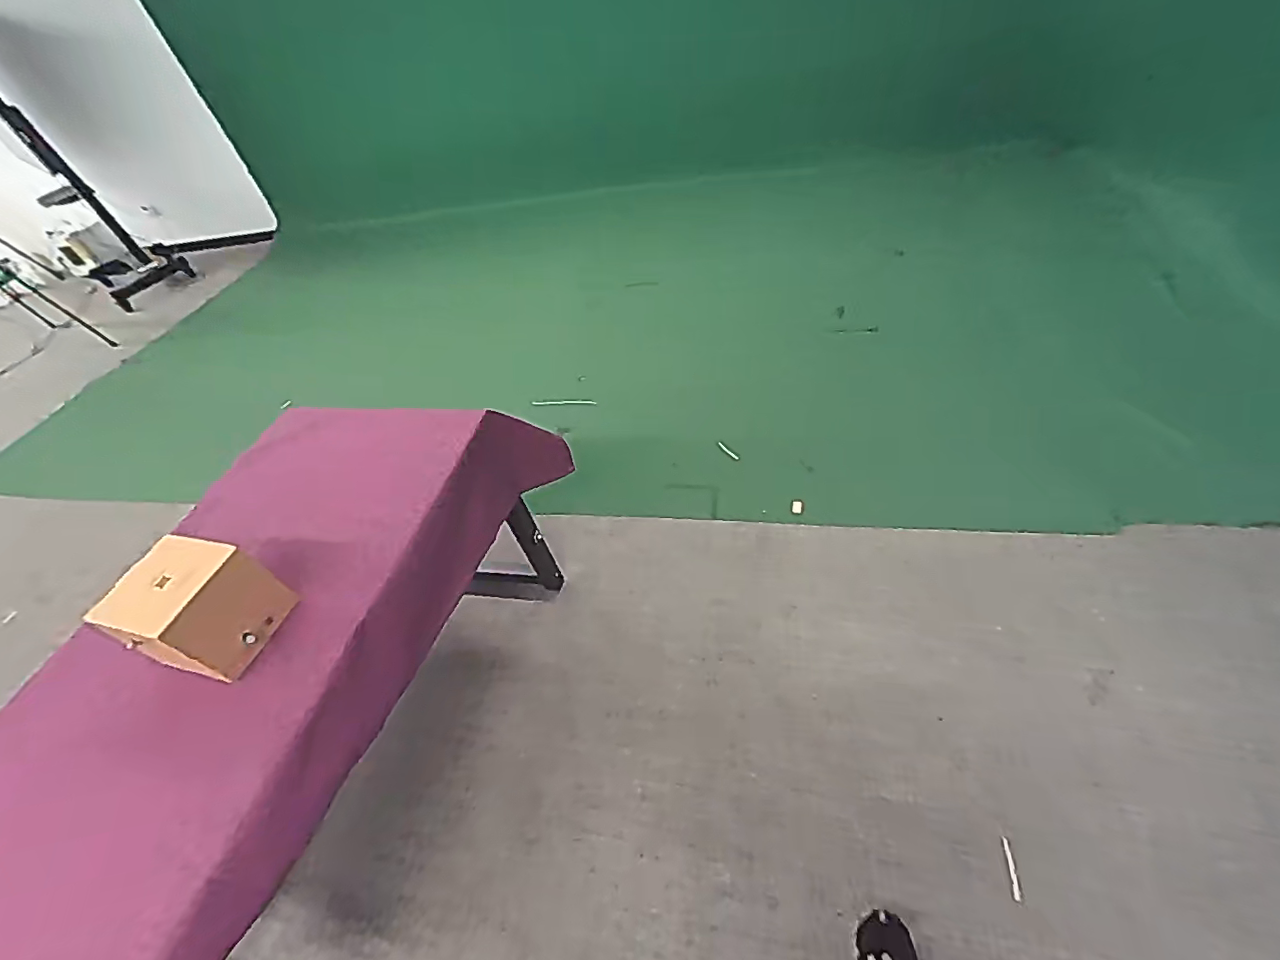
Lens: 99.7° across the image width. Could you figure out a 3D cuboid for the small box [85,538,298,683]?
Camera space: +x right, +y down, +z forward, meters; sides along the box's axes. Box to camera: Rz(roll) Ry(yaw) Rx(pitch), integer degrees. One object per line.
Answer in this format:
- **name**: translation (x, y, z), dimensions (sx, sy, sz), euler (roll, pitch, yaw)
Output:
- **small box**: translation (-0.734, 0.219, 0.906), dimensions (0.179, 0.176, 0.168), euler (6, 50, 18)
